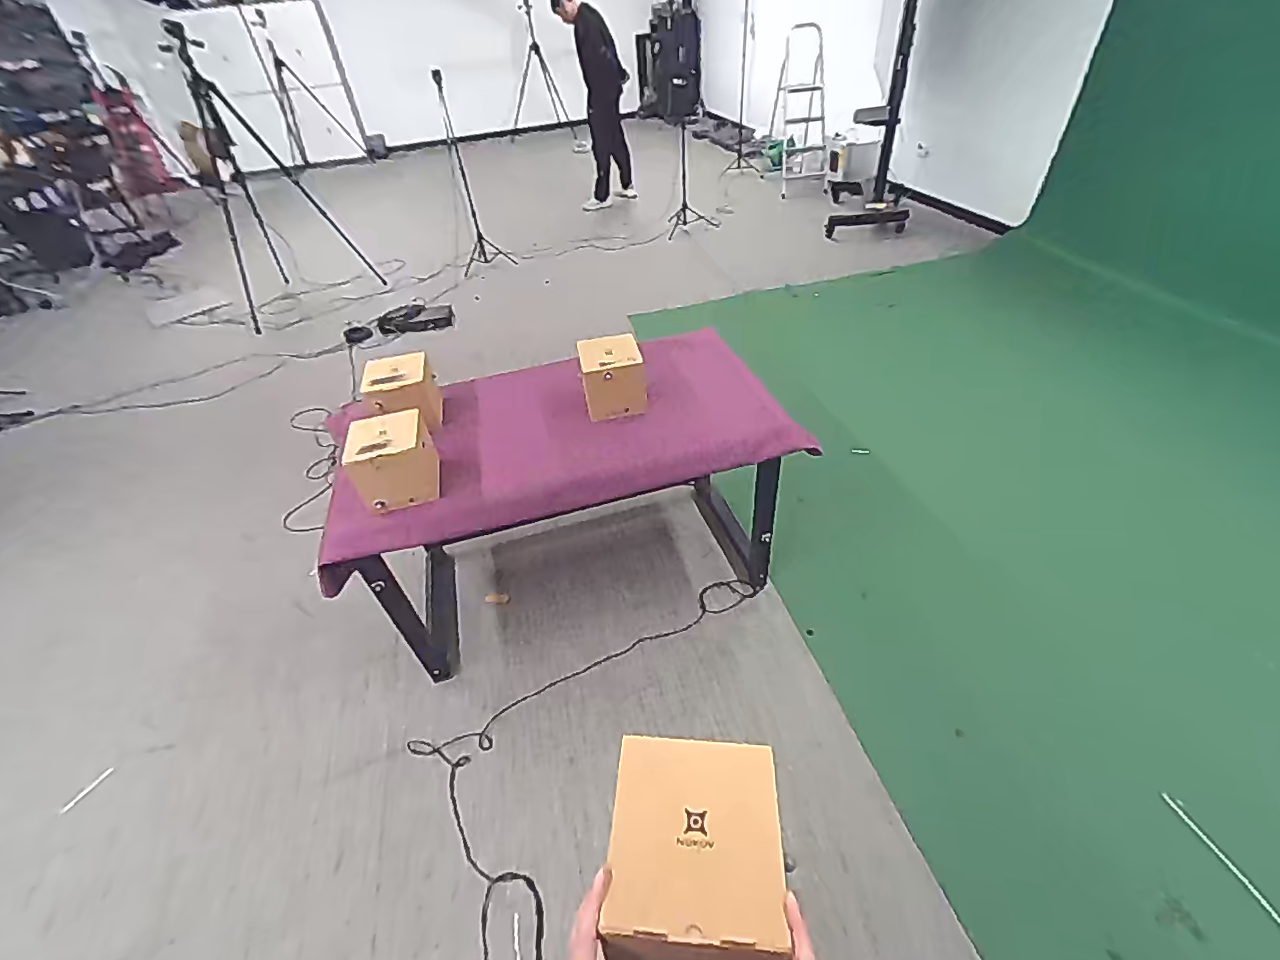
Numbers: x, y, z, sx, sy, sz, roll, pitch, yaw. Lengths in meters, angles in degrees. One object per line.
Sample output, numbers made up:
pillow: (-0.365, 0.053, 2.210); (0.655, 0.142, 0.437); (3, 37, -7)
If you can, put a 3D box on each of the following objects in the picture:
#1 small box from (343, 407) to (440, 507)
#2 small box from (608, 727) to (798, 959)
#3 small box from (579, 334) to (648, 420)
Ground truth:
small box: (-0.600, -0.050, 1.330); (0.168, 0.176, 0.179); (-13, 42, -9)
small box: (0.061, 0.394, 0.574); (0.168, 0.176, 0.179); (3, 37, 5)
small box: (-0.076, -0.293, 1.544); (0.168, 0.176, 0.179); (-11, 42, -5)
